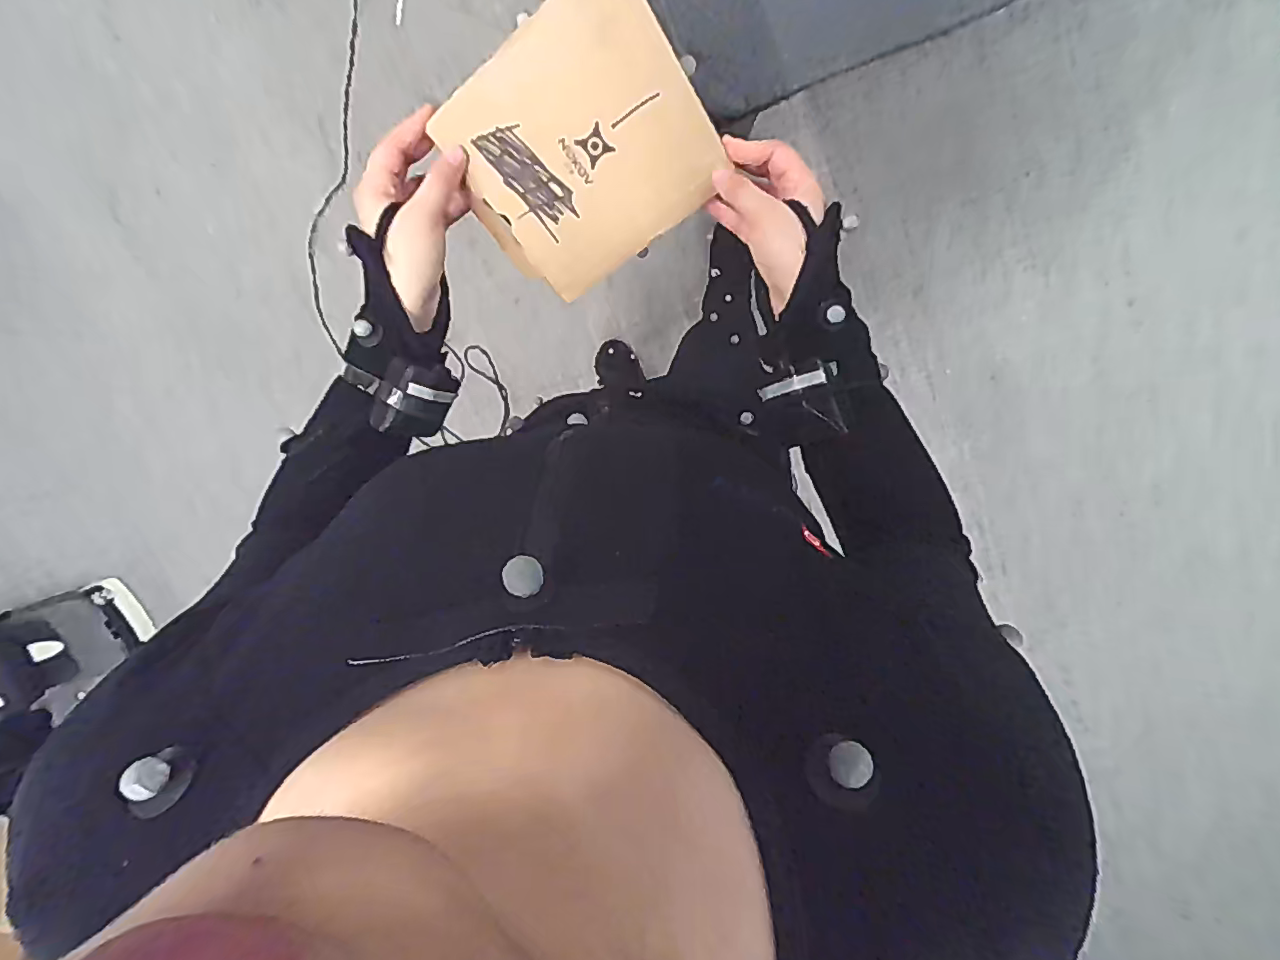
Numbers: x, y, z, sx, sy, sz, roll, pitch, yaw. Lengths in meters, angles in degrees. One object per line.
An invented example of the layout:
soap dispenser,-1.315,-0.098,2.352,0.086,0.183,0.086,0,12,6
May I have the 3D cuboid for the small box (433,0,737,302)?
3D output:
small box,-0.039,-0.294,0.471,0.179,0.176,0.168,-31,122,20
